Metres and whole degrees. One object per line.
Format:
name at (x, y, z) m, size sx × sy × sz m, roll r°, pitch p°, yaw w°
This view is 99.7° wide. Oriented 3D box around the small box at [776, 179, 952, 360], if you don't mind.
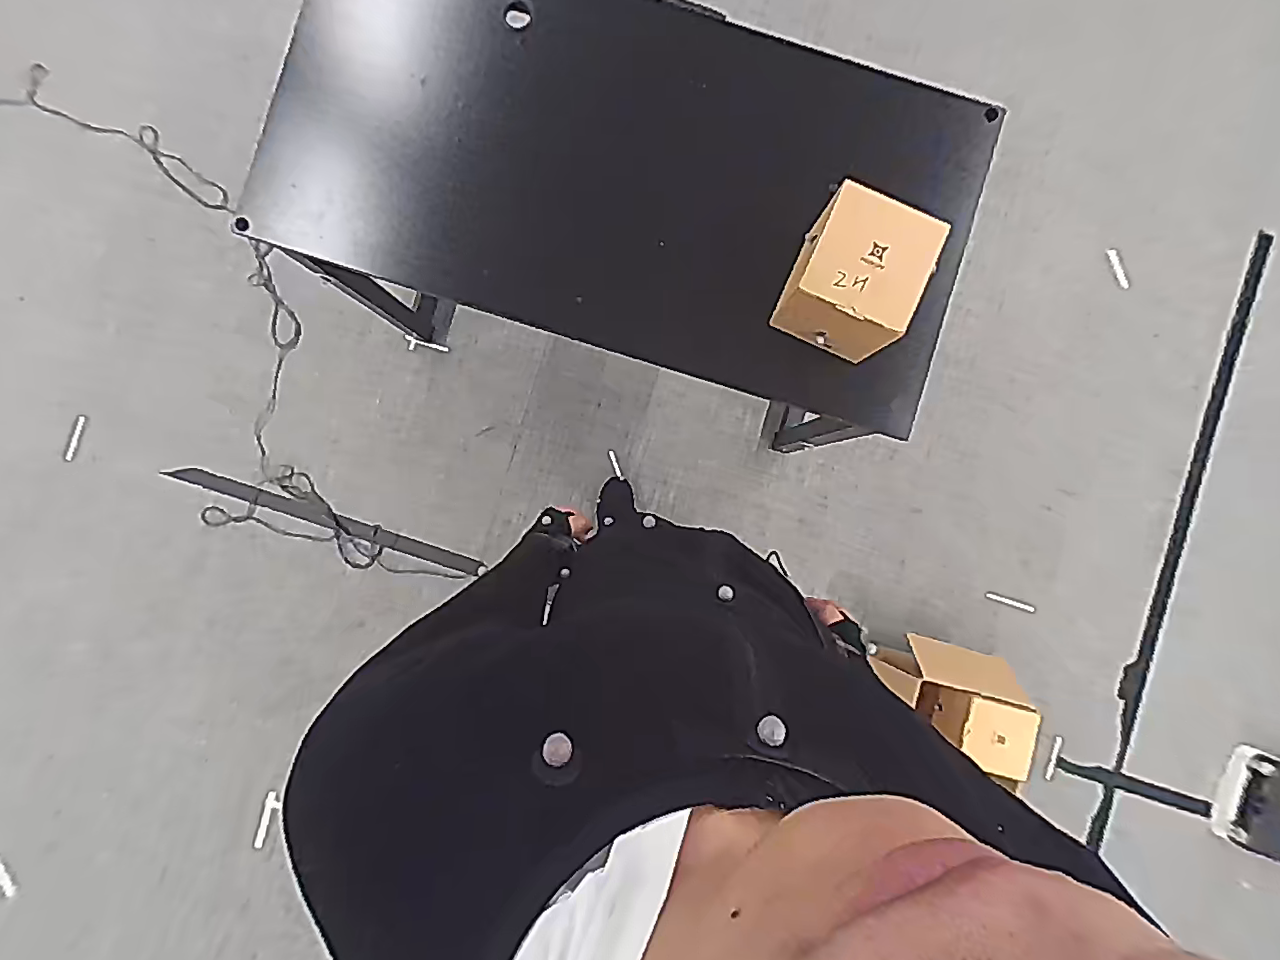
small box at (0.330, -0.311, 0.836) m, size 0.168 × 0.176 × 0.179 m, roll 25°, pitch 89°, yaw 1°
